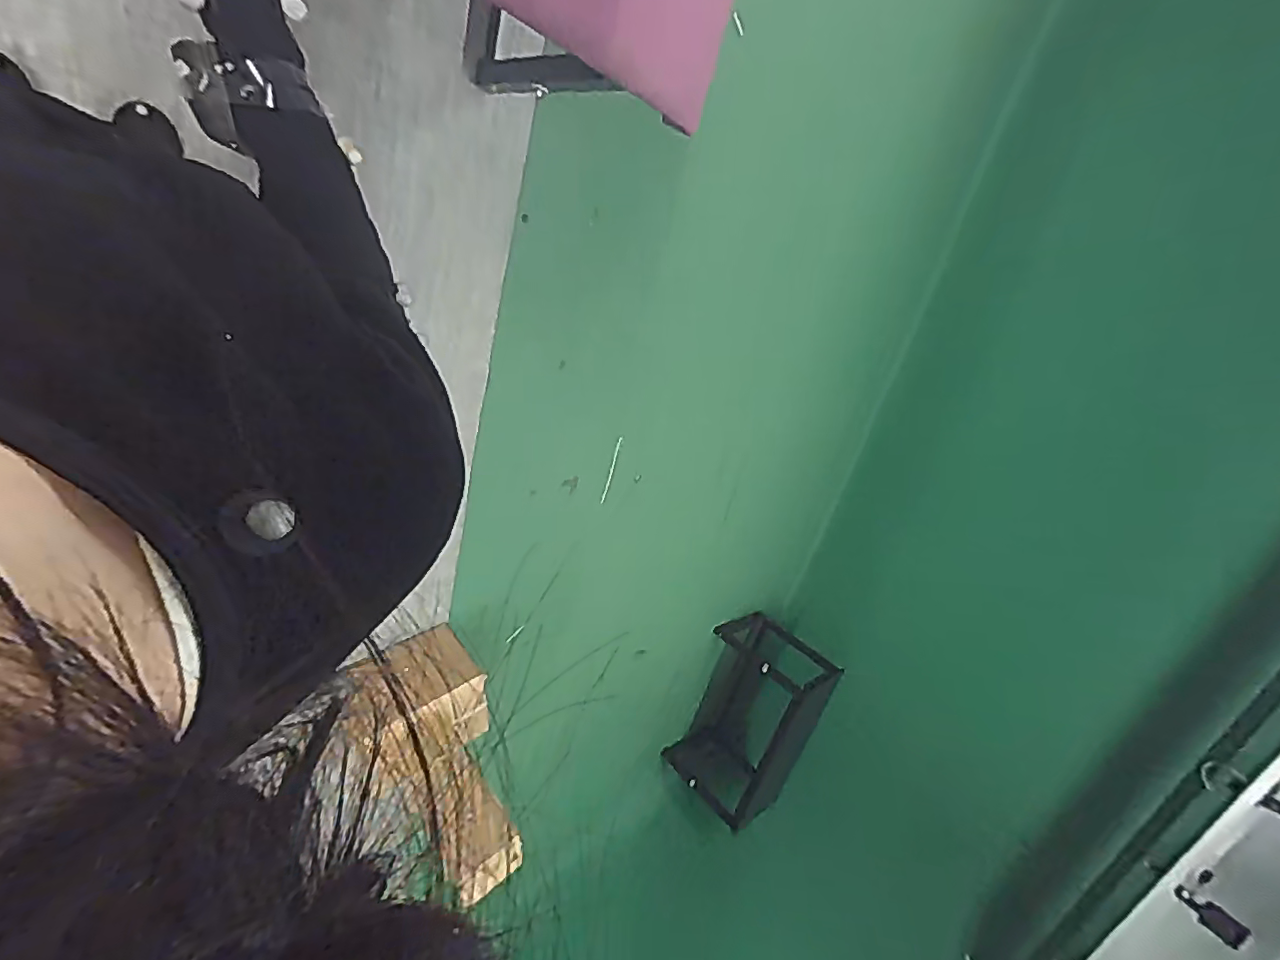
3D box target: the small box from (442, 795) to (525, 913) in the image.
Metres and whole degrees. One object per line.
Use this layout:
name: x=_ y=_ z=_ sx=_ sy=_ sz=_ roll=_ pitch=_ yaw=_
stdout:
small box: x=-0.441 y=1.038 z=1.514 sx=0.179 sy=0.176 sz=0.168 roll=-20 pitch=128 yaw=-36

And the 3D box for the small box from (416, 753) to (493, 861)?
small box: x=-0.552 y=0.968 z=1.613 sx=0.179 sy=0.176 sz=0.168 roll=-22 pitch=129 yaw=-37

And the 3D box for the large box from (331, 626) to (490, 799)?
large box: x=-0.791 y=0.793 z=1.897 sx=0.408 sy=0.320 sz=0.320 roll=-22 pitch=131 yaw=-38

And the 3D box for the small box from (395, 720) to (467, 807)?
small box: x=-0.659 y=0.896 z=1.714 sx=0.168 sy=0.176 sz=0.179 roll=-20 pitch=129 yaw=-38
